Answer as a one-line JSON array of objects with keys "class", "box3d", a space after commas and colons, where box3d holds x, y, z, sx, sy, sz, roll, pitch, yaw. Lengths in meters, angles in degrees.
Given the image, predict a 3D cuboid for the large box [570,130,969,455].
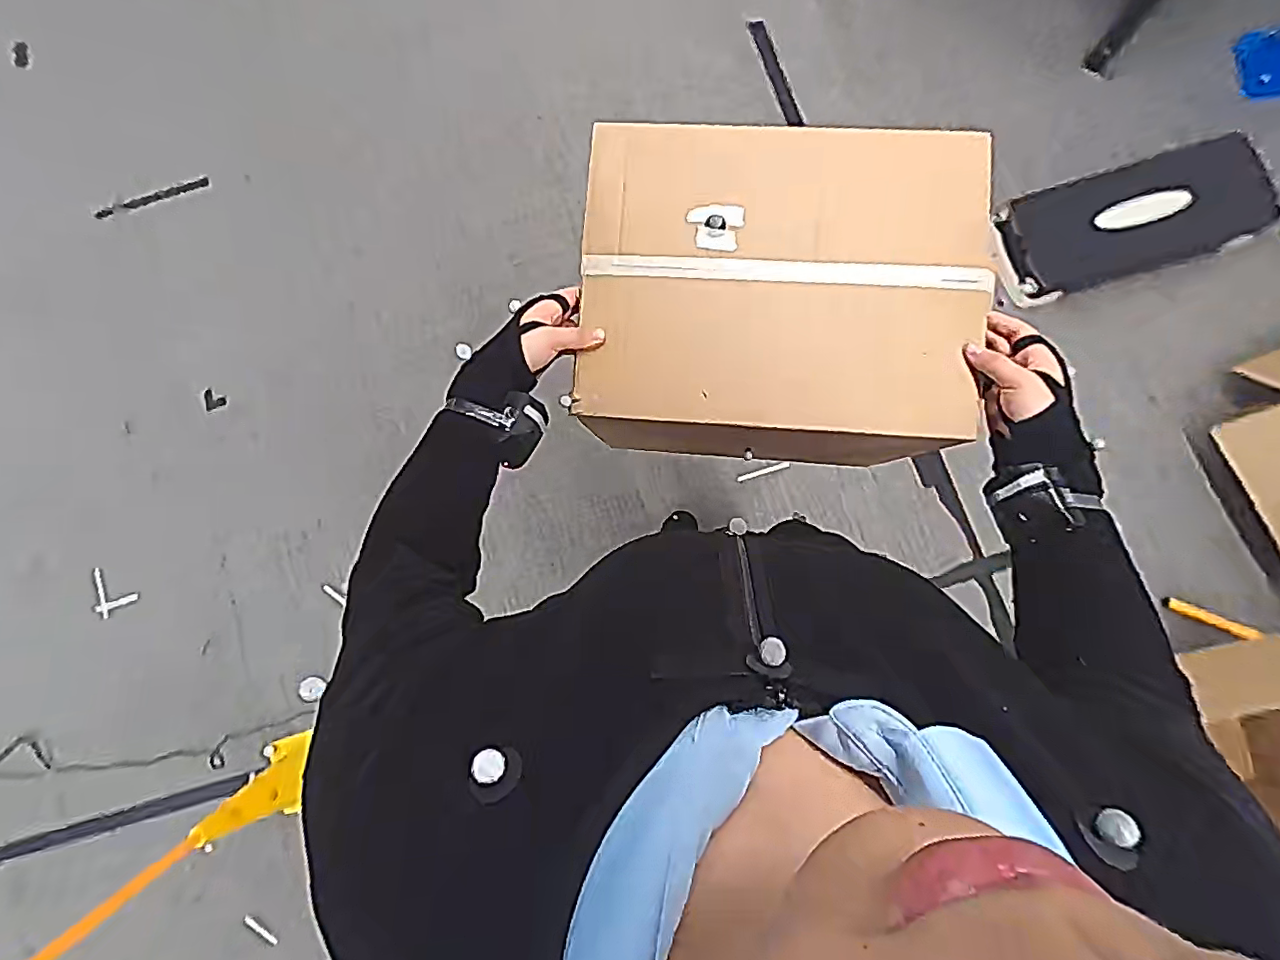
[{"class": "large box", "box3d": [0.145, -0.203, 0.707, 0.408, 0.320, 0.320, 3, 86, 5]}]
